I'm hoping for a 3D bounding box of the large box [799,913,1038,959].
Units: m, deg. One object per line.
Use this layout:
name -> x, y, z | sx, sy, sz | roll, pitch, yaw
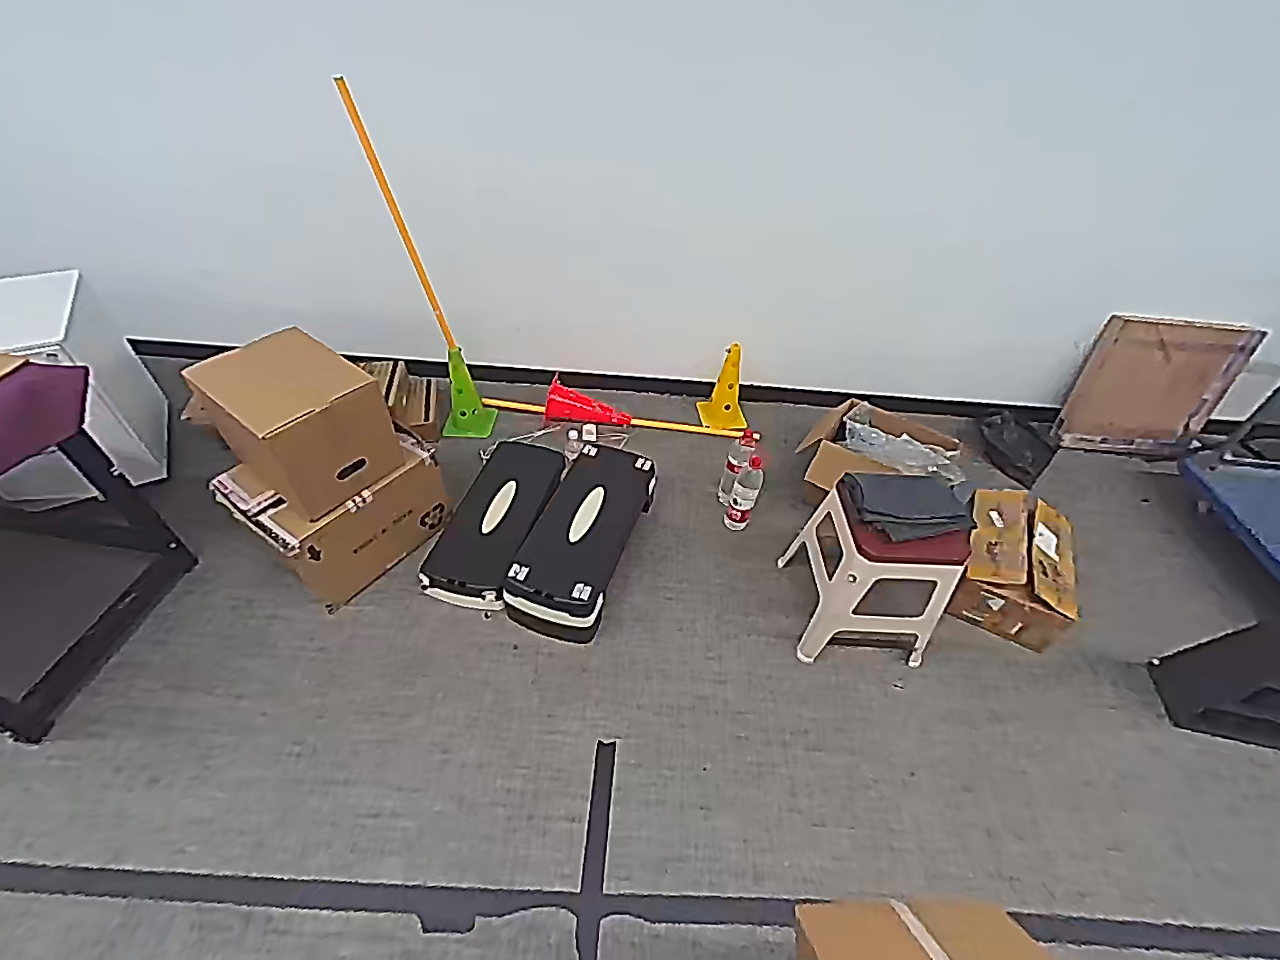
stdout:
large box -> 0.392, 0.783, 0.599 | 0.320, 0.408, 0.320 | 1, 83, -2
